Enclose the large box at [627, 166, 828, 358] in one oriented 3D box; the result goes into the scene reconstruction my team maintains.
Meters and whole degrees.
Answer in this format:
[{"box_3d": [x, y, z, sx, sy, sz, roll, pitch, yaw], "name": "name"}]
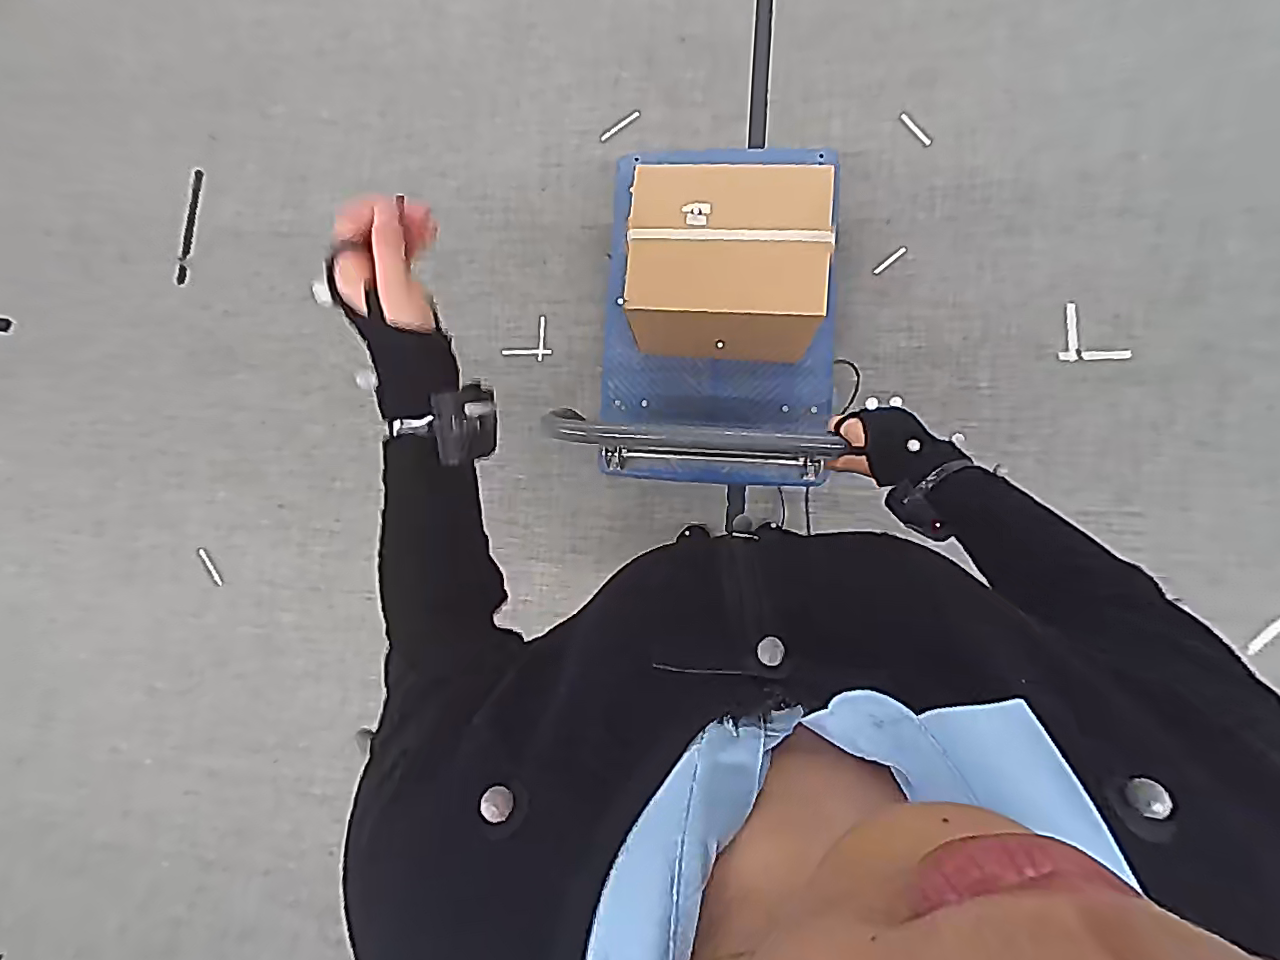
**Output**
[{"box_3d": [0.200, -0.478, 1.254, 0.408, 0.320, 0.320, 3, 84, 8], "name": "large box"}]
